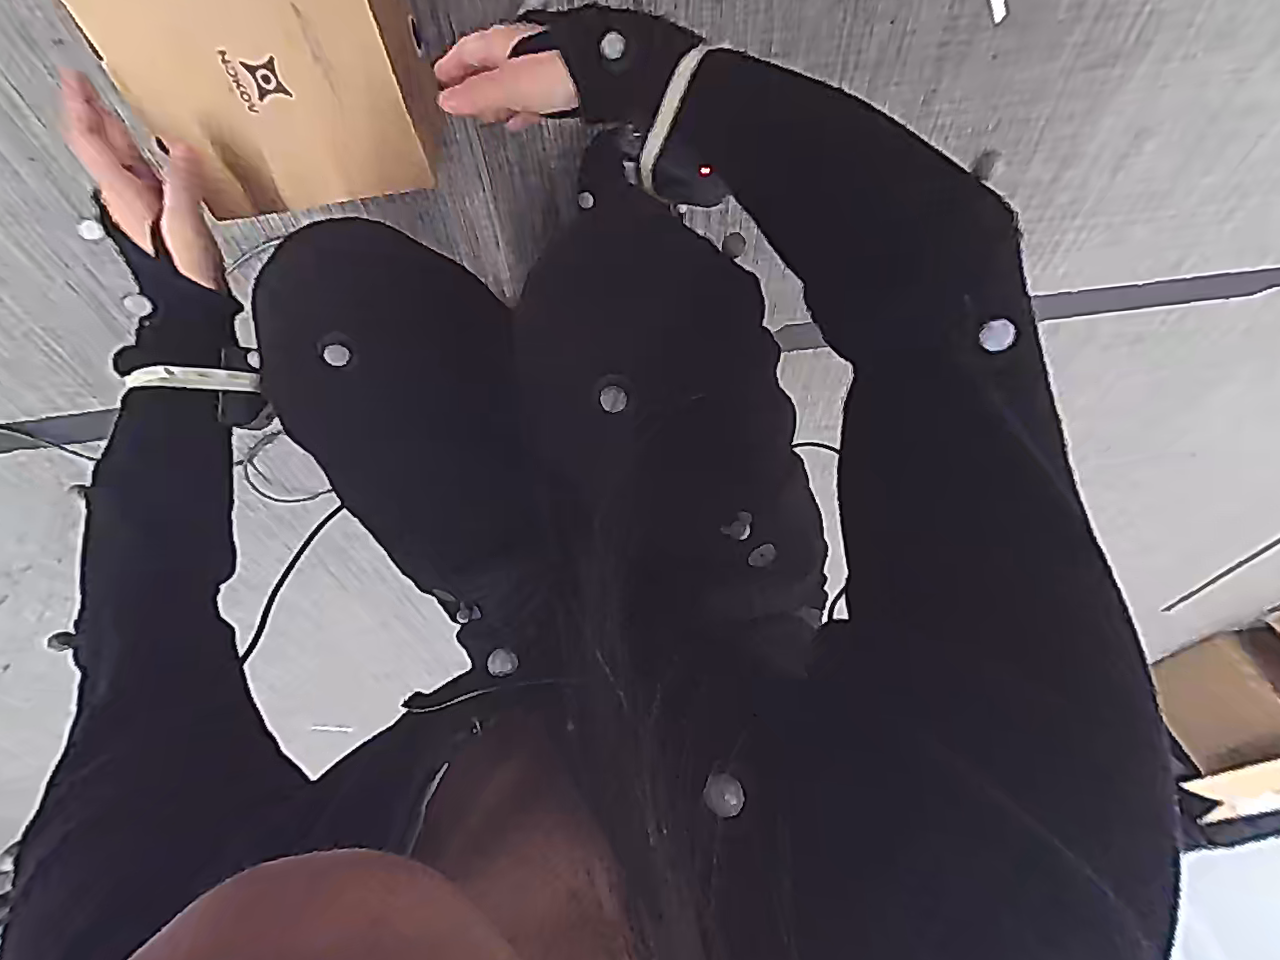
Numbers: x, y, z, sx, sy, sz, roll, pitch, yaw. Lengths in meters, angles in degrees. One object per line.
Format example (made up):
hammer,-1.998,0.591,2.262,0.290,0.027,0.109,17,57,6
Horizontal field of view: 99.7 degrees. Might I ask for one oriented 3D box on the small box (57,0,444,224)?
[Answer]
small box,-0.264,-0.326,0.409,0.179,0.176,0.168,-12,143,-2
